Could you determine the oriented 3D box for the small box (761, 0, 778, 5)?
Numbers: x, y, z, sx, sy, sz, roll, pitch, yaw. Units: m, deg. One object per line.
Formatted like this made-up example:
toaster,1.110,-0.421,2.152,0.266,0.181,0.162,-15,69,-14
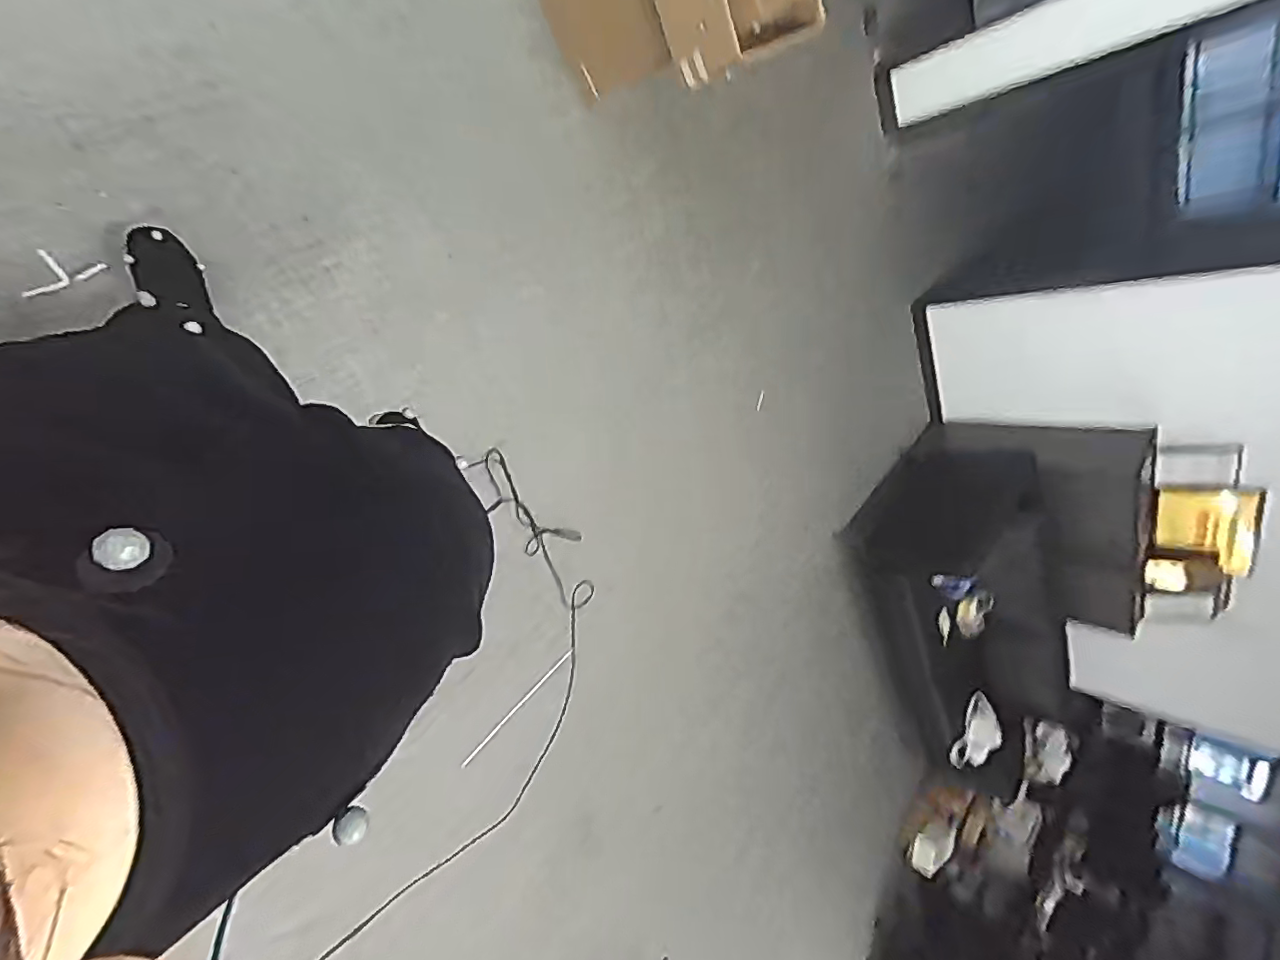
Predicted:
small box,0.343,-1.167,1.154,0.179,0.176,0.168,-45,124,-26
